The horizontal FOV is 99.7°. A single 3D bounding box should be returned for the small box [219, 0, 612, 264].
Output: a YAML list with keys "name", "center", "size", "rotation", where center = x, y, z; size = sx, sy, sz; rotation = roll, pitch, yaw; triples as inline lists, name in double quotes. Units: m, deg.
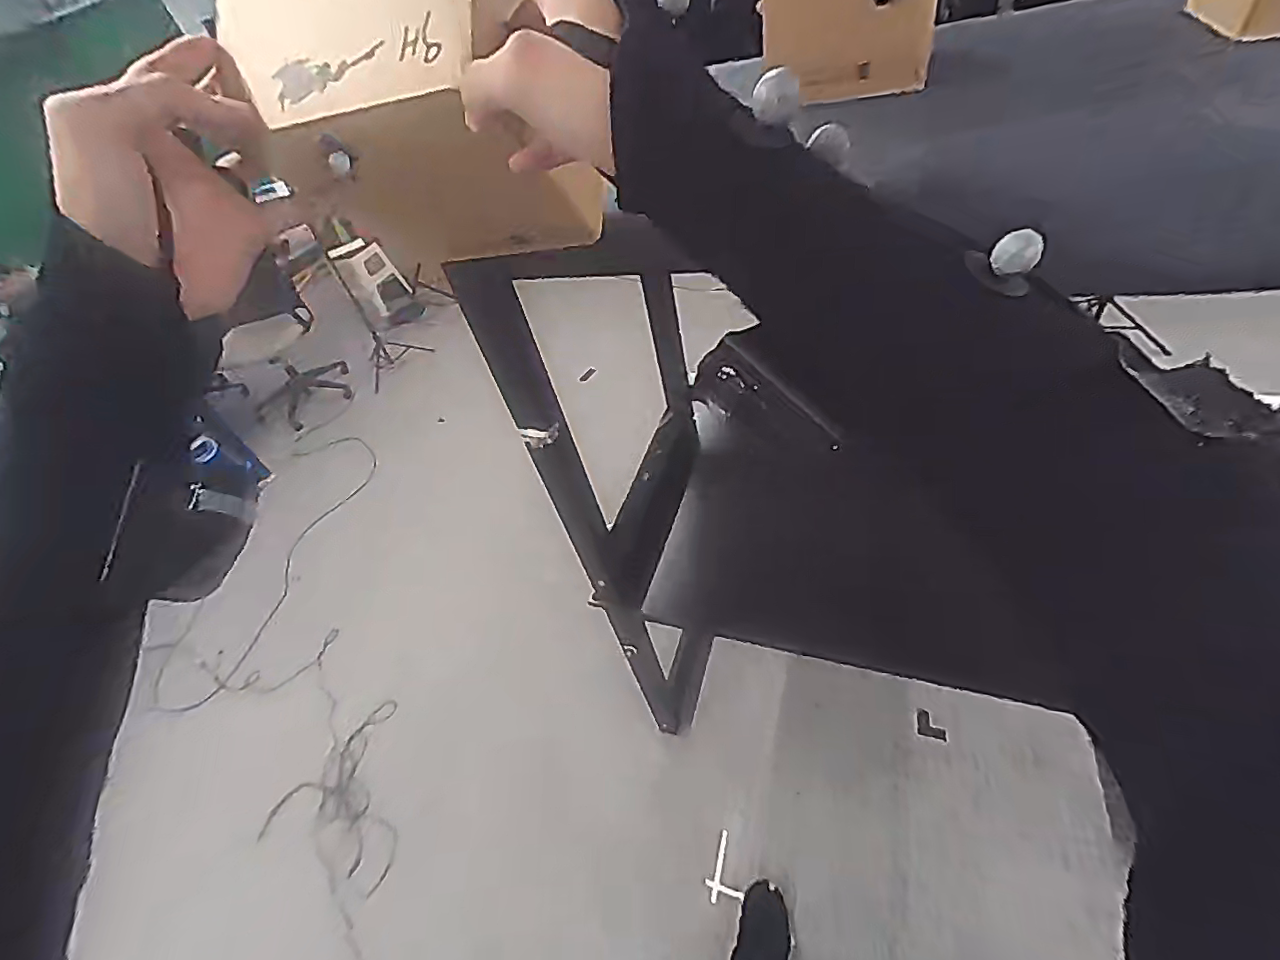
- name: "small box"
  center: [-0.123, -0.264, 0.349]
  size: [0.168, 0.176, 0.179]
  rotation: [2, 90, 17]

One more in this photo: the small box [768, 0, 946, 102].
- name: "small box"
  center: [0.236, -0.525, 0.577]
  size: [0.168, 0.176, 0.179]
  rotation: [10, 50, 22]

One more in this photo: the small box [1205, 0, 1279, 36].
- name: "small box"
  center: [0.615, -0.485, 0.432]
  size: [0.168, 0.176, 0.179]
  rotation: [7, 49, 22]
